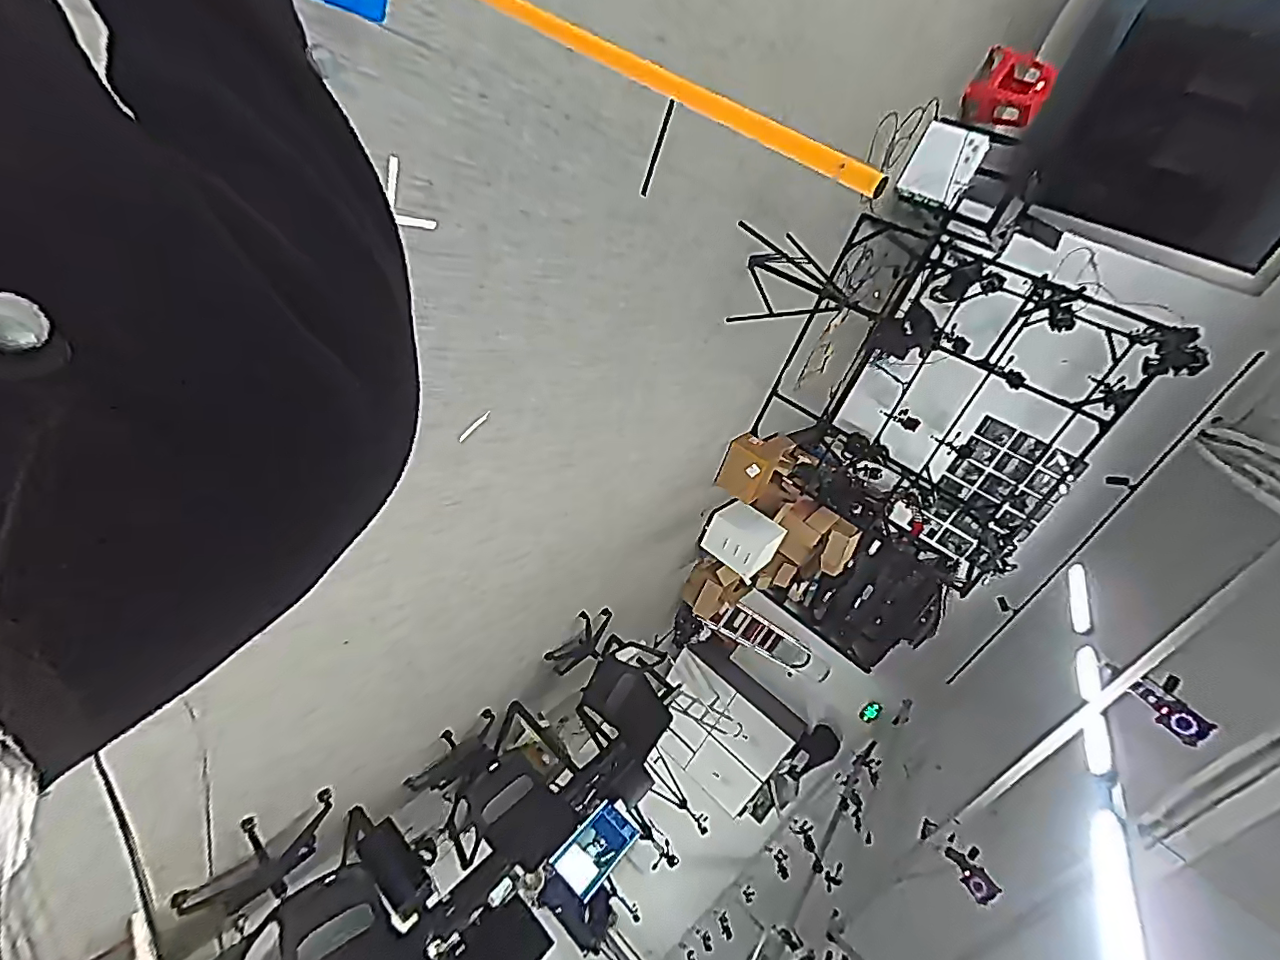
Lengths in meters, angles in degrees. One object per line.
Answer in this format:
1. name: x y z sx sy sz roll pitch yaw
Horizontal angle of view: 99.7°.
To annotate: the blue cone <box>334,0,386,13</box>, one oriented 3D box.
1. blue cone: -0.456 -0.957 0.979 0.193 0.380 0.192 -23 141 -49
